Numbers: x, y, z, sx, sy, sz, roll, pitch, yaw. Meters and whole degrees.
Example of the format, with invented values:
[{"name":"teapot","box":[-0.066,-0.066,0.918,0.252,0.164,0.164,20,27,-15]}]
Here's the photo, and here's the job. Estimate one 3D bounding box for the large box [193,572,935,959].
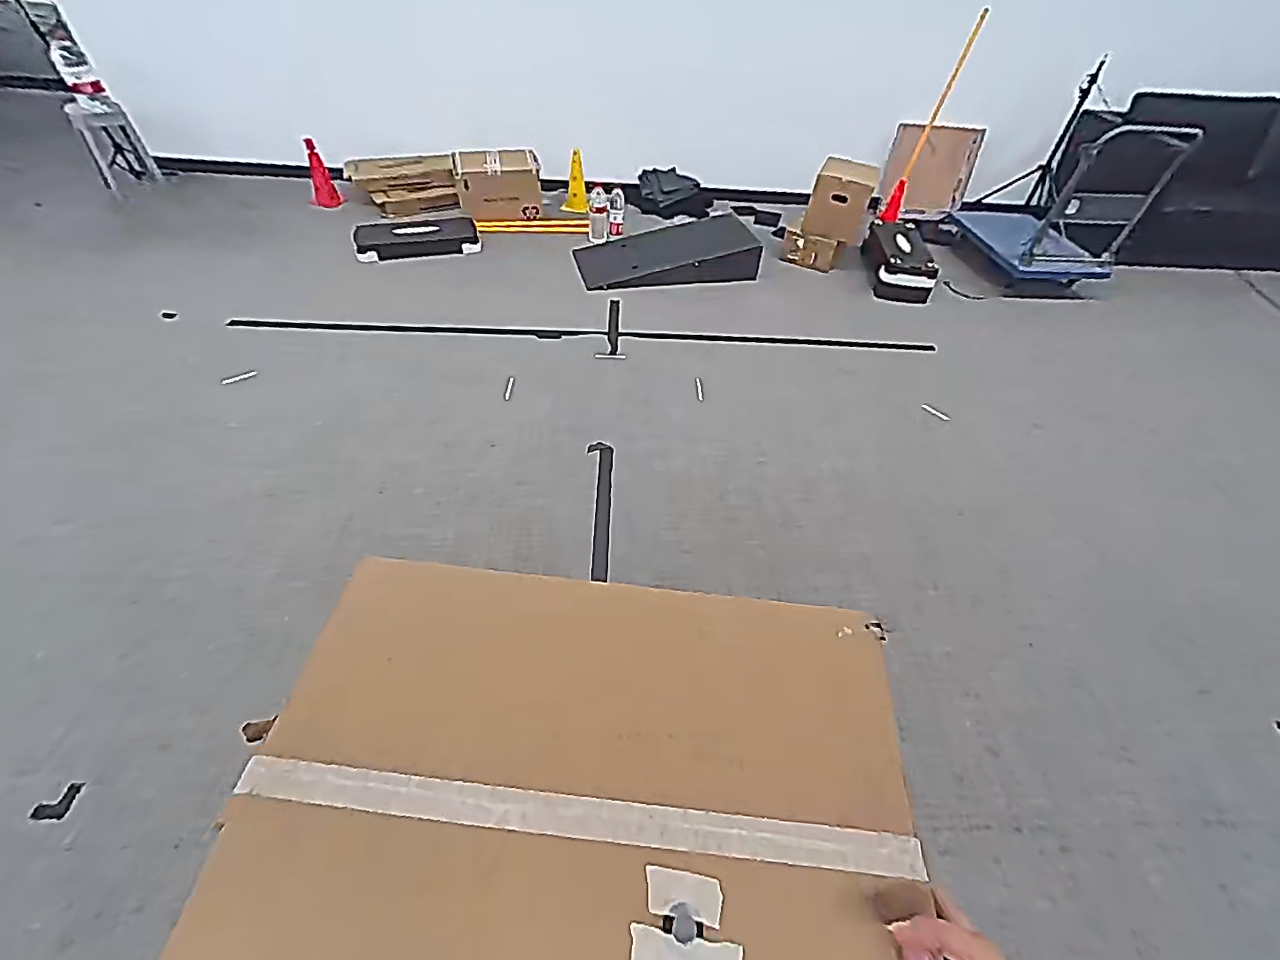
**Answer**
[{"name":"large box","box":[-0.037,0.302,0.447,0.408,0.320,0.320,6,51,2]}]
